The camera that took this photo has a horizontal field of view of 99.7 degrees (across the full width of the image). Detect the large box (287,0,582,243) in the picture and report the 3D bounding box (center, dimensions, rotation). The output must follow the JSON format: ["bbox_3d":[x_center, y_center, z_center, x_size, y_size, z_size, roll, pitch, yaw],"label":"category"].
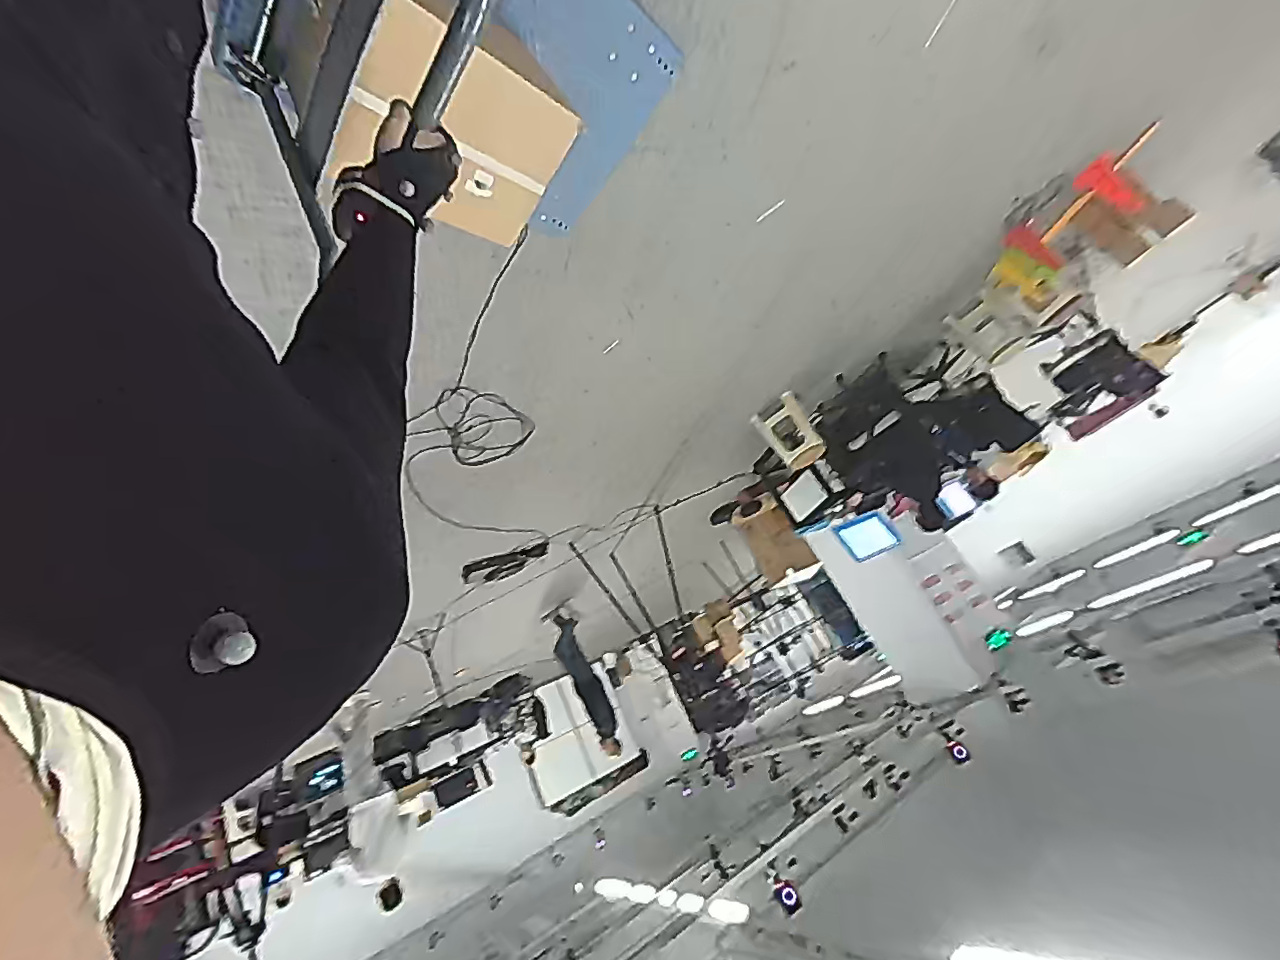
[{"bbox_3d":[-0.404,-0.748,1.064,0.408,0.320,0.320,-1,145,-51],"label":"large box"}]
